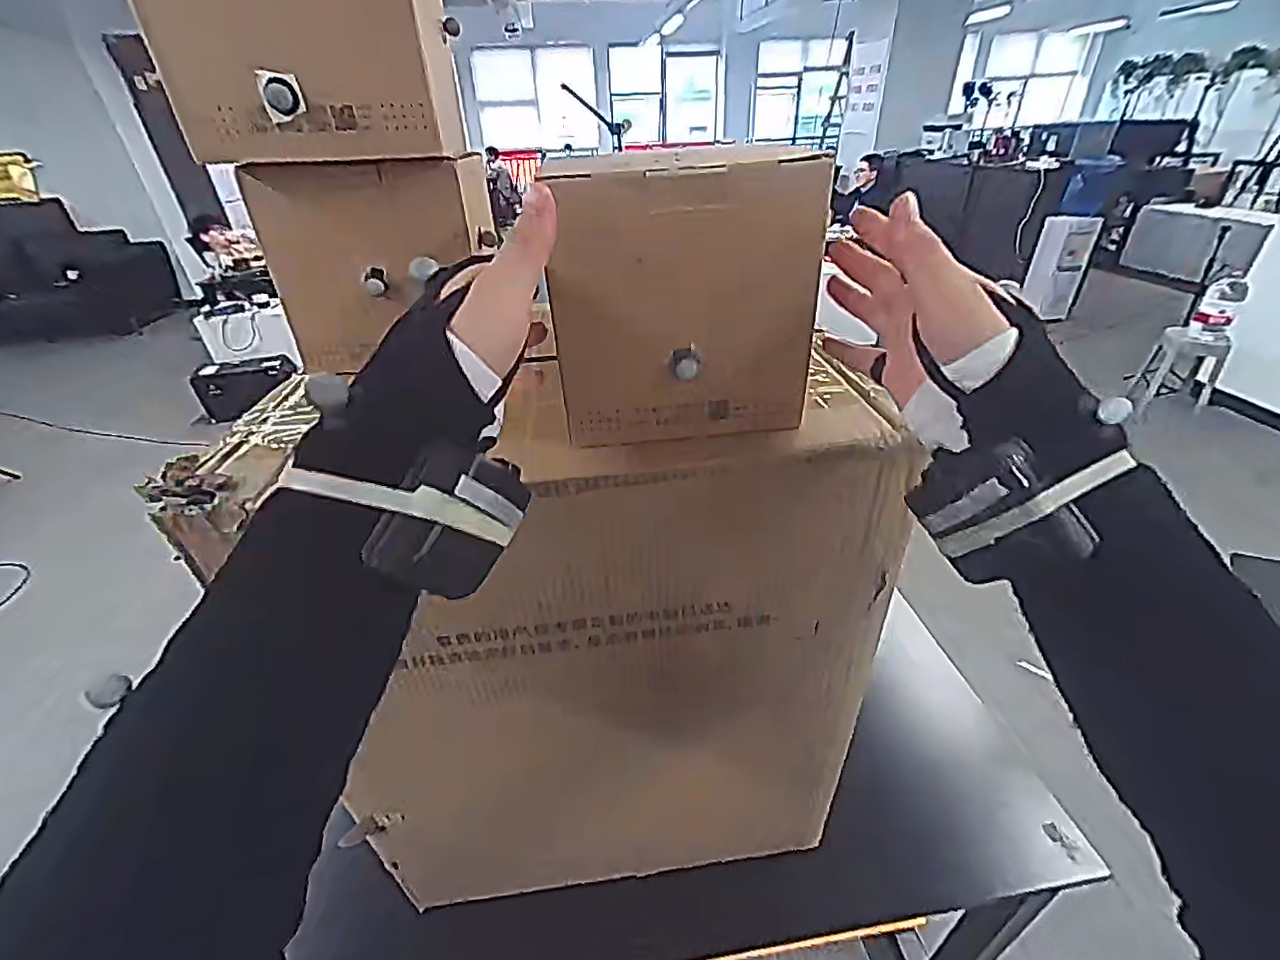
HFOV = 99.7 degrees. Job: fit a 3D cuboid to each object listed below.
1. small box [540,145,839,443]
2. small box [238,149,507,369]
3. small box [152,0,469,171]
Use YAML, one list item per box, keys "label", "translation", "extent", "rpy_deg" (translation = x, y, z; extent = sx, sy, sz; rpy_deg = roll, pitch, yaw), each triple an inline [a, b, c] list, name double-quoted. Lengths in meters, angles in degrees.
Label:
- label: "small box"
  translation: [0.025, -0.144, 0.403]
  extent: [0.168, 0.176, 0.179]
  rpy_deg: [-6, 34, -2]
- label: "small box"
  translation: [-0.226, -0.212, 0.519]
  extent: [0.168, 0.176, 0.179]
  rpy_deg: [-5, 33, -6]
- label: "small box"
  translation: [-0.230, -0.331, 0.402]
  extent: [0.168, 0.176, 0.179]
  rpy_deg: [-8, 34, -7]
